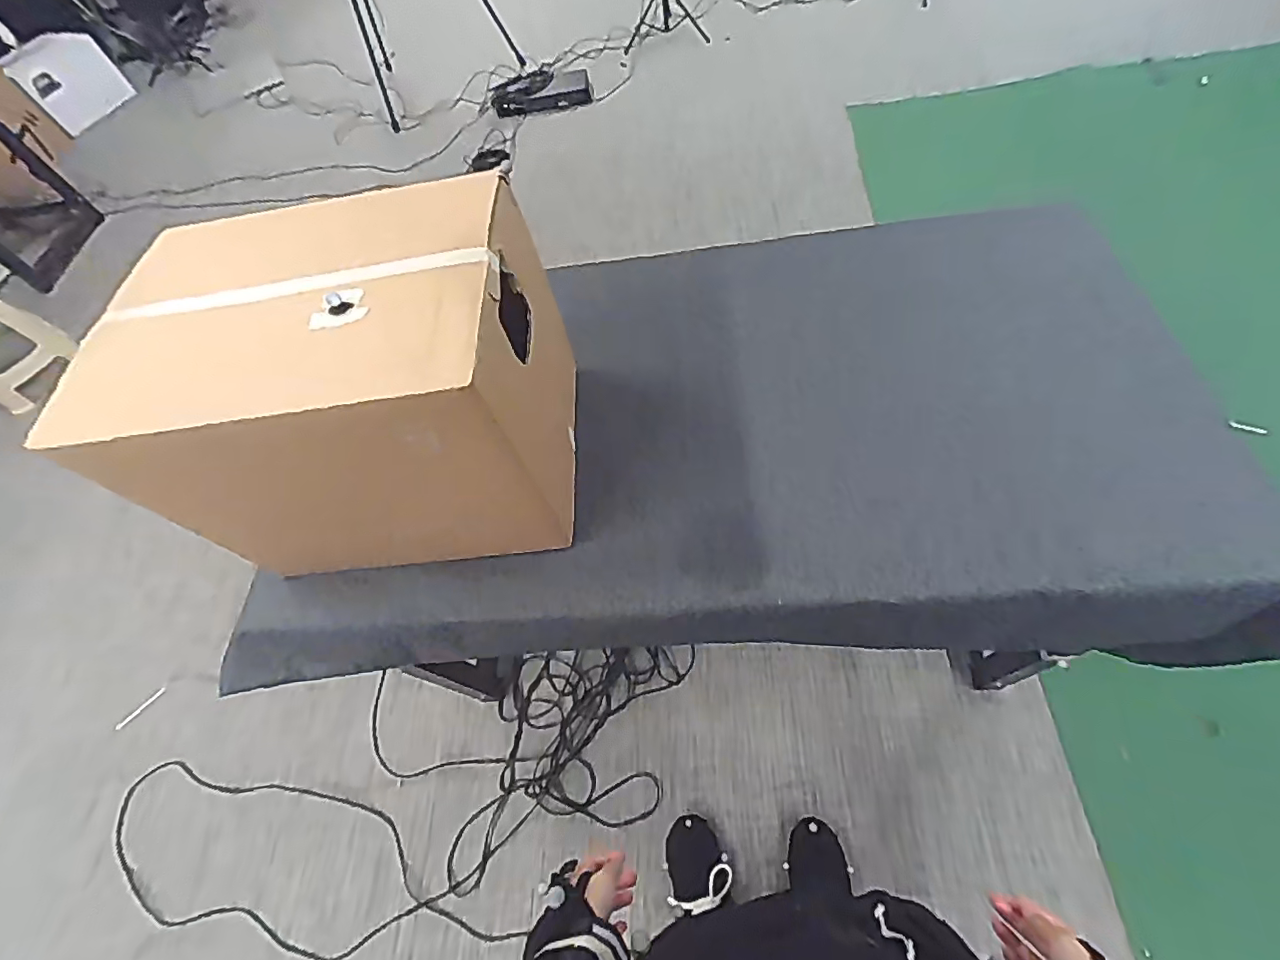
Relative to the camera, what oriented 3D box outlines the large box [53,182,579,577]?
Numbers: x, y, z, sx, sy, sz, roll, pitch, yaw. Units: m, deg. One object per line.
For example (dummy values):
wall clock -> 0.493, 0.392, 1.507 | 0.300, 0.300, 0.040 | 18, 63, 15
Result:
large box -> -0.302, -0.099, 0.654 | 0.408, 0.320, 0.320 | -7, 58, 5
